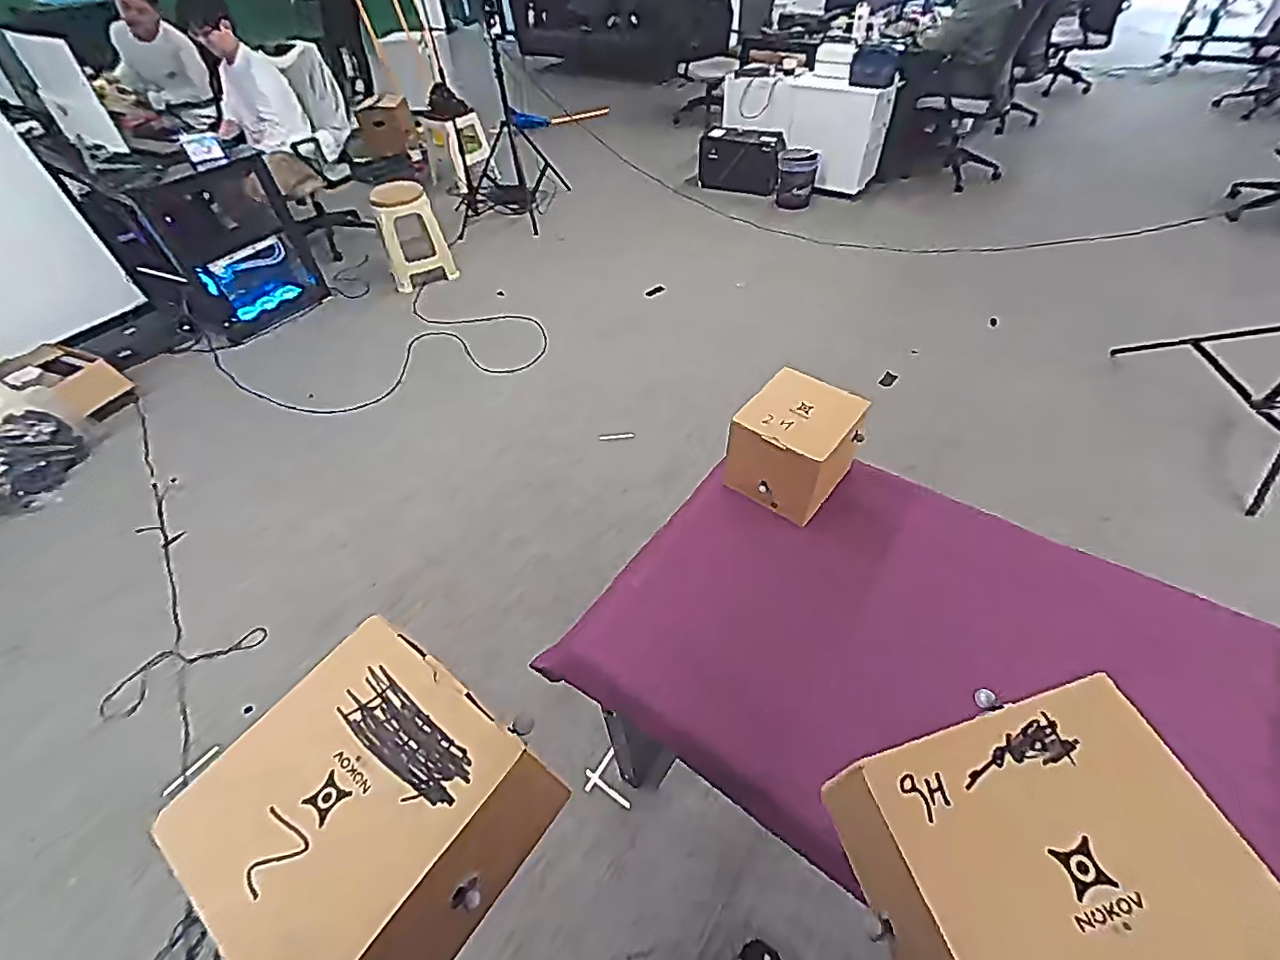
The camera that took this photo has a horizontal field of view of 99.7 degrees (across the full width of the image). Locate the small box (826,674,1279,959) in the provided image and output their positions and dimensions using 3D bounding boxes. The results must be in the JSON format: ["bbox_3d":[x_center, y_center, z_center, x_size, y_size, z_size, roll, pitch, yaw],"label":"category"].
[{"bbox_3d":[0.243,0.254,0.349,0.168,0.176,0.179,-18,55,-4],"label":"small box"}]

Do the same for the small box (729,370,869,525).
[{"bbox_3d":[0.270,-0.057,0.953,0.168,0.176,0.179,31,59,27],"label":"small box"}]
